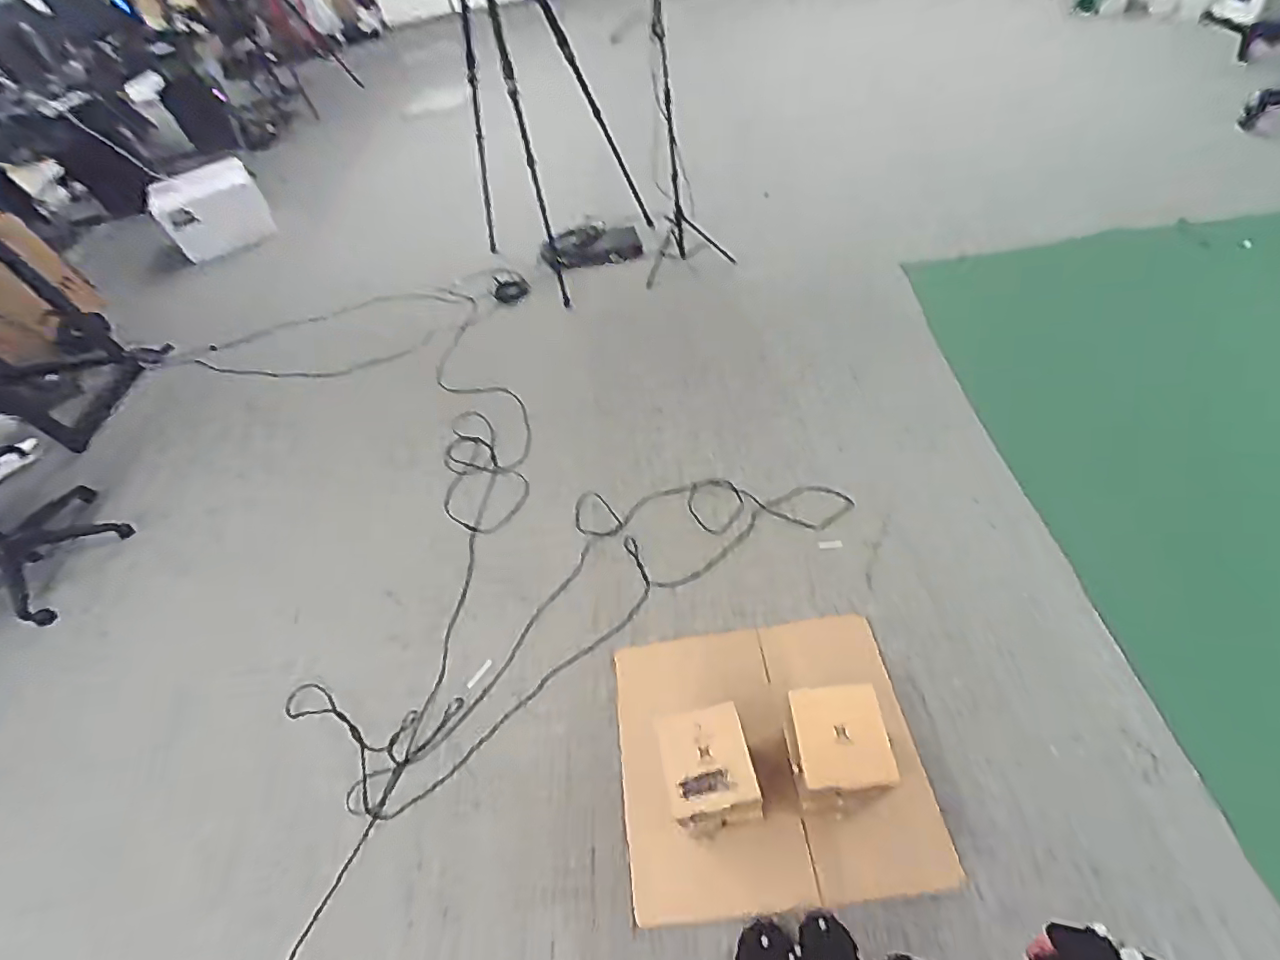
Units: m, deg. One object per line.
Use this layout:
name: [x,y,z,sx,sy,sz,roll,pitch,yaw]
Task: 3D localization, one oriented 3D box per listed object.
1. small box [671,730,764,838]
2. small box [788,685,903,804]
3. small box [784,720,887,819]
small box: [0.174,0.682,1.204,0.168,0.176,0.179,-13,51,1]
small box: [0.394,0.528,1.074,0.168,0.176,0.179,-8,52,6]
small box: [0.420,0.632,1.196,0.168,0.176,0.179,-11,52,5]
